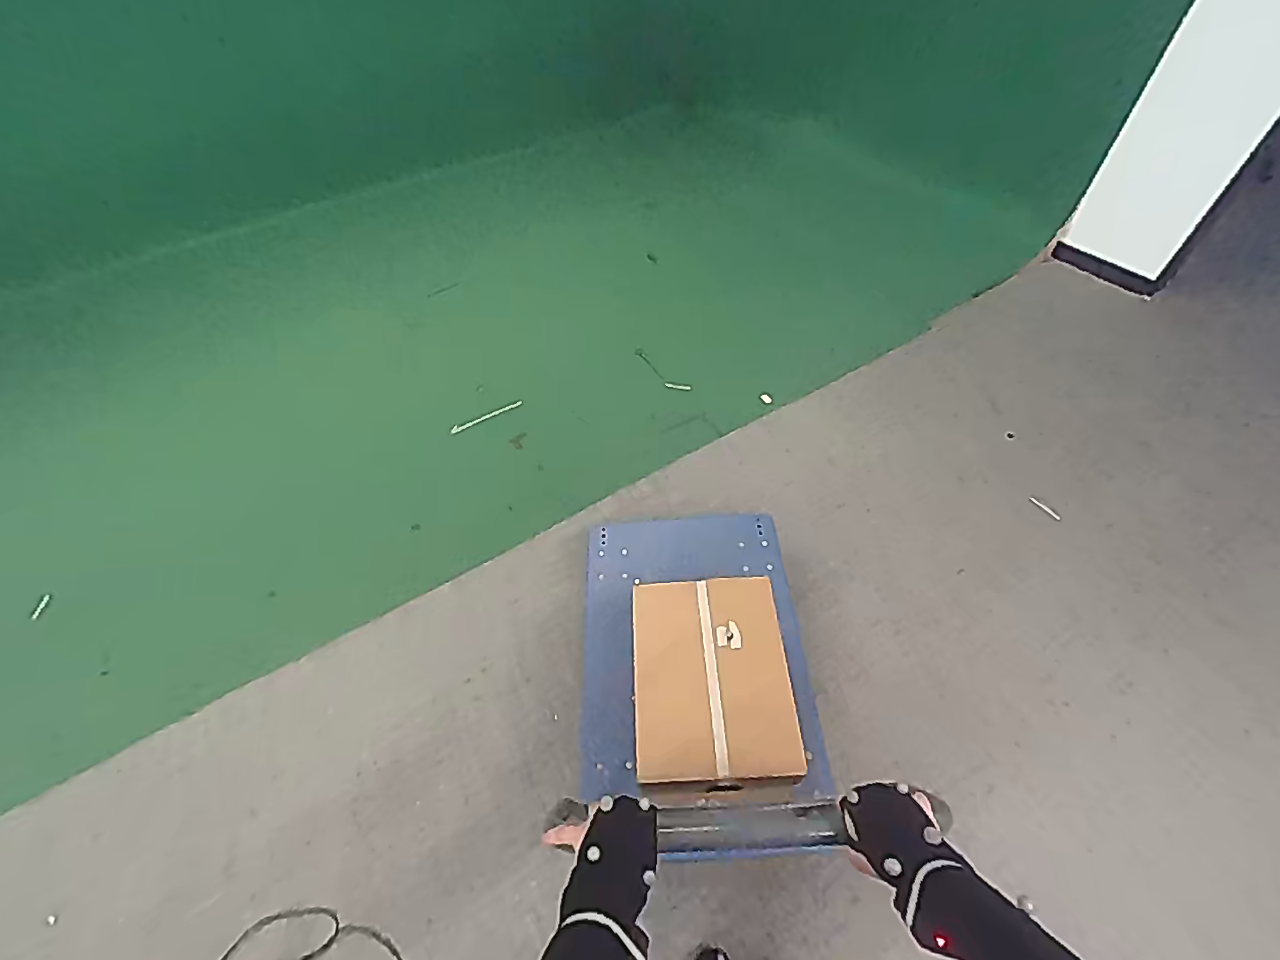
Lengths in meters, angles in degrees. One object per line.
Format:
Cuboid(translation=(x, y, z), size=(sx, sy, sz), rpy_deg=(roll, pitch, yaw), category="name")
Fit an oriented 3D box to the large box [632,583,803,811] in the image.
Cuboid(translation=(0.153, 0.496, 1.237), size=(0.320, 0.320, 0.408), rpy_deg=(-4, 50, 1), category="large box")
